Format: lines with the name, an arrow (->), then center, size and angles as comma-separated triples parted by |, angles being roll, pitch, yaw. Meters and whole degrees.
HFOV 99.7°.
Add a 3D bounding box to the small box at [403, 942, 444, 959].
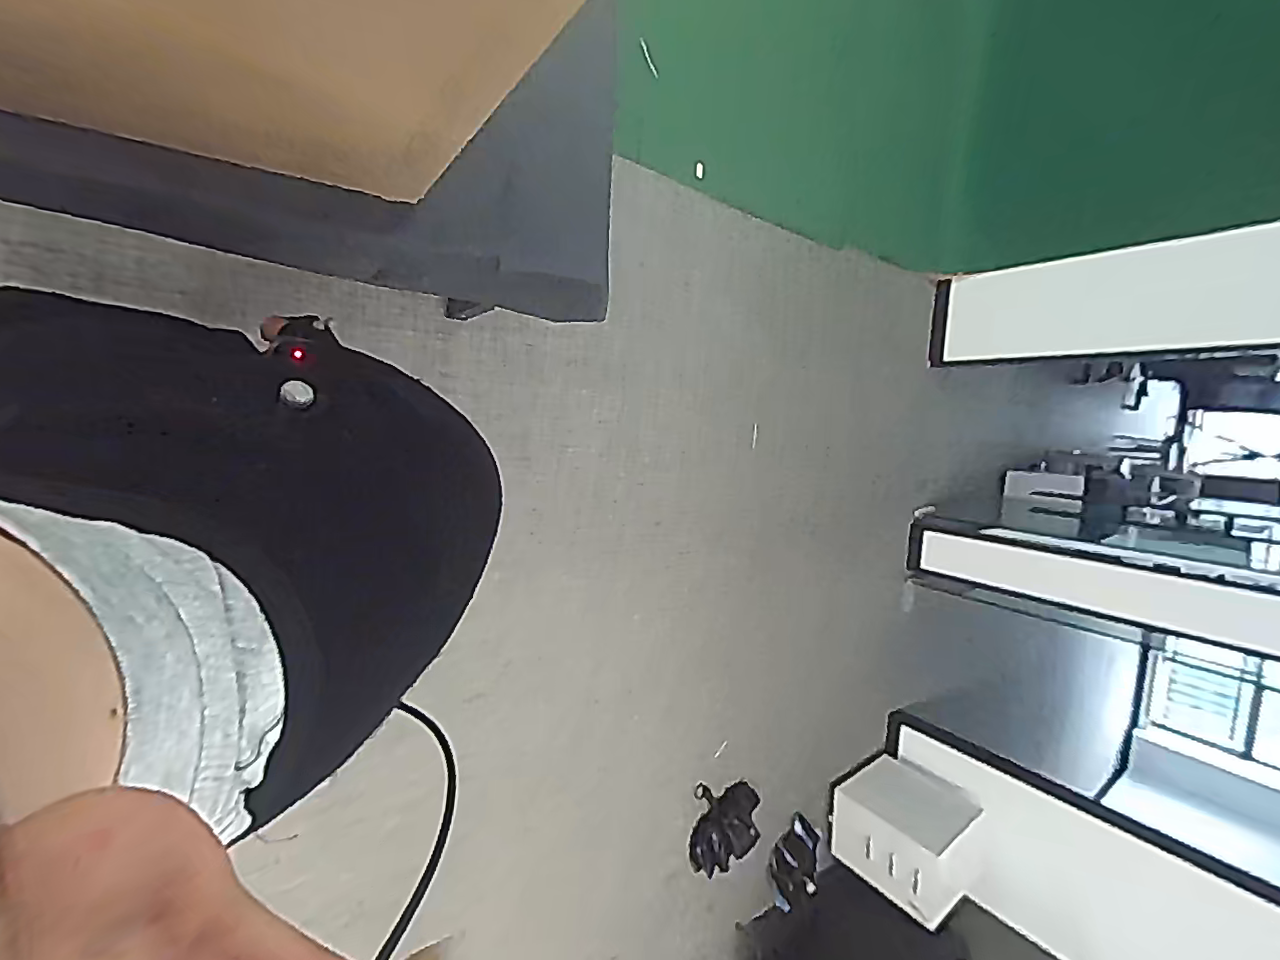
small box -> -0.659, 1.561, 1.618 | 0.168, 0.176, 0.179 | -10, 102, -37
